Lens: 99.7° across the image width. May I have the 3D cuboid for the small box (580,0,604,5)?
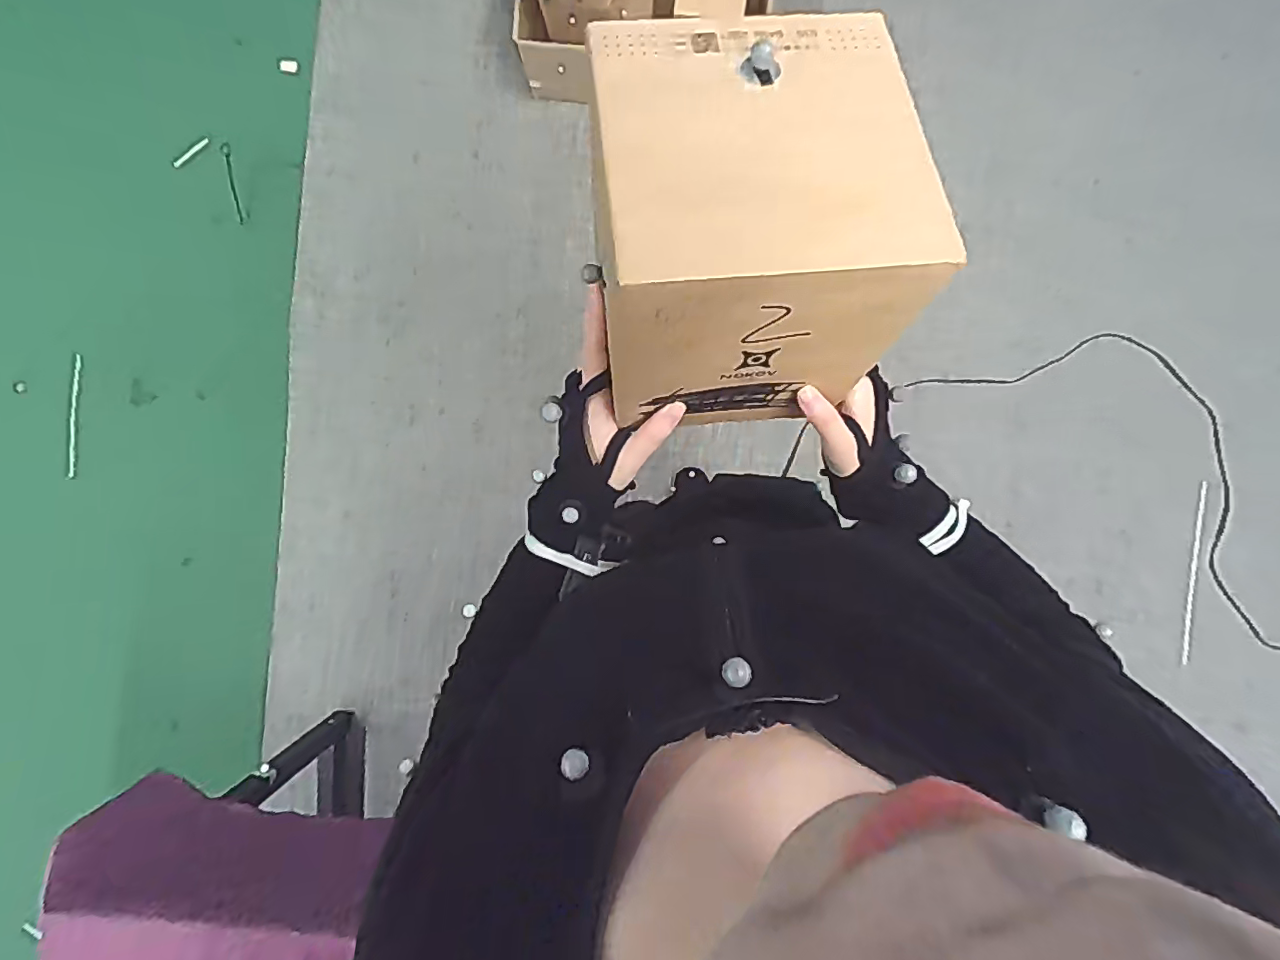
[{"bbox_3d":[-0.147,-1.196,1.176,0.168,0.176,0.179,12,91,2],"label":"small box"}]
